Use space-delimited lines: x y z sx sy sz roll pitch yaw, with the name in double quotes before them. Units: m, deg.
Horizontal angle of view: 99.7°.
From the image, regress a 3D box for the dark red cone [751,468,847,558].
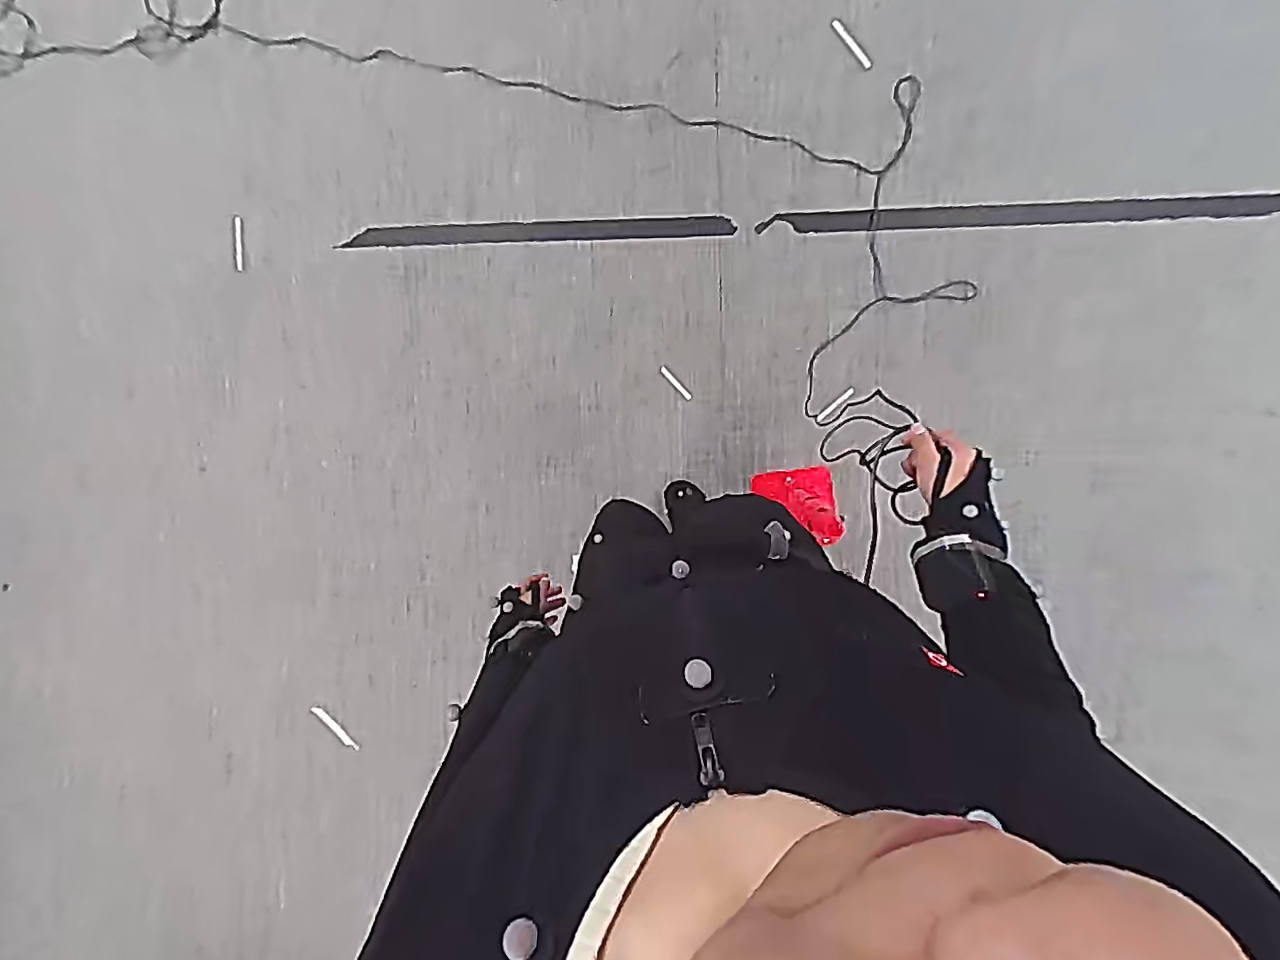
"dark red cone" 0.365 0.085 1.145 0.202 0.394 0.201 -9 91 5
